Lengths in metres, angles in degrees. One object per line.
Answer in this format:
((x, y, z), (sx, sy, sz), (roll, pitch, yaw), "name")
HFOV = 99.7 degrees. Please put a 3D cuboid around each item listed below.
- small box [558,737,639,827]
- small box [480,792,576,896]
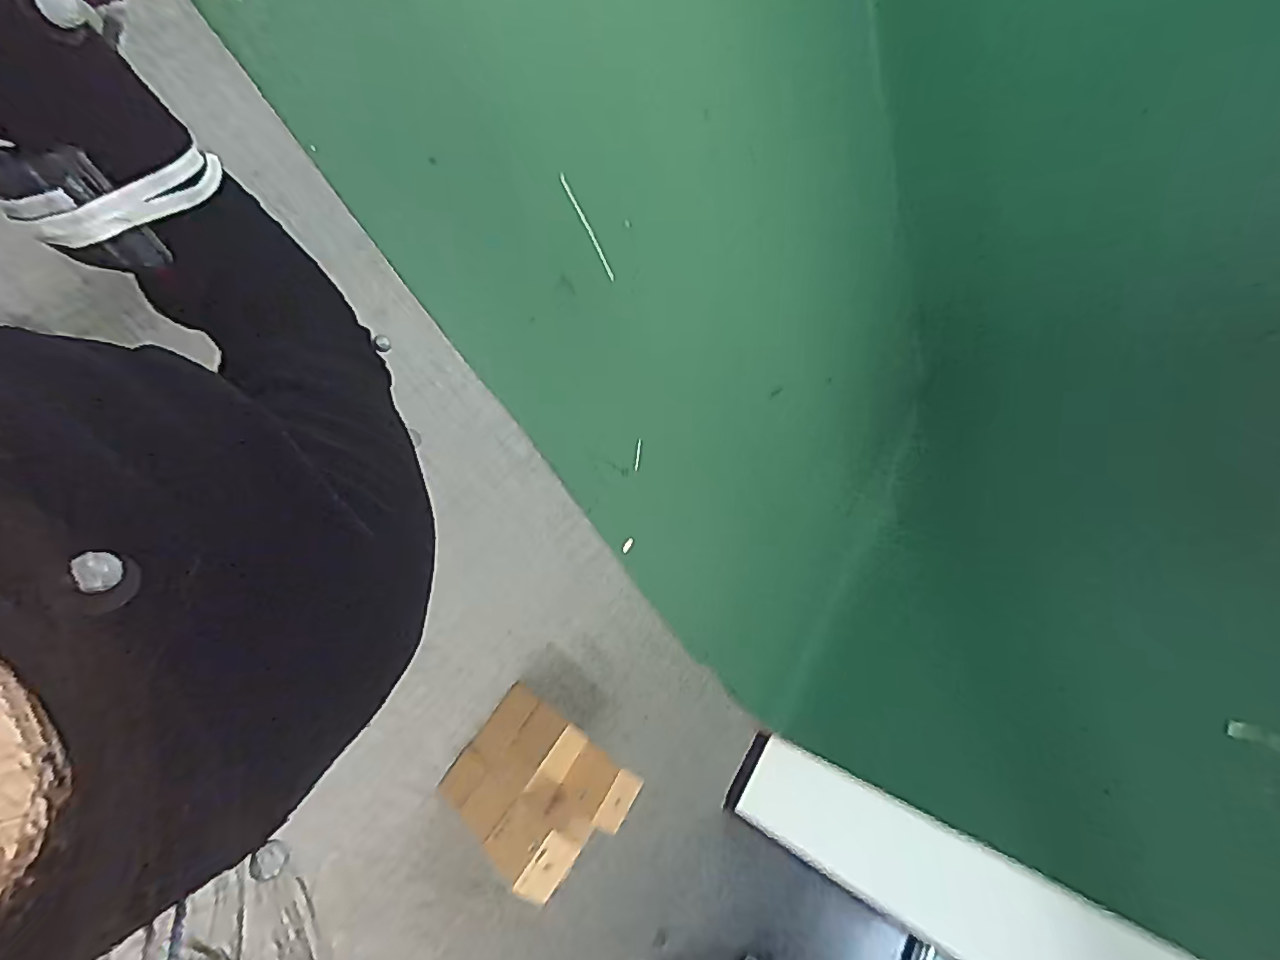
((-0.141, 0.979, 1.757), (0.179, 0.176, 0.168), (-54, 135, -24), "small box")
((-0.326, 1.052, 1.573), (0.168, 0.176, 0.179), (-49, 132, -26), "small box")
